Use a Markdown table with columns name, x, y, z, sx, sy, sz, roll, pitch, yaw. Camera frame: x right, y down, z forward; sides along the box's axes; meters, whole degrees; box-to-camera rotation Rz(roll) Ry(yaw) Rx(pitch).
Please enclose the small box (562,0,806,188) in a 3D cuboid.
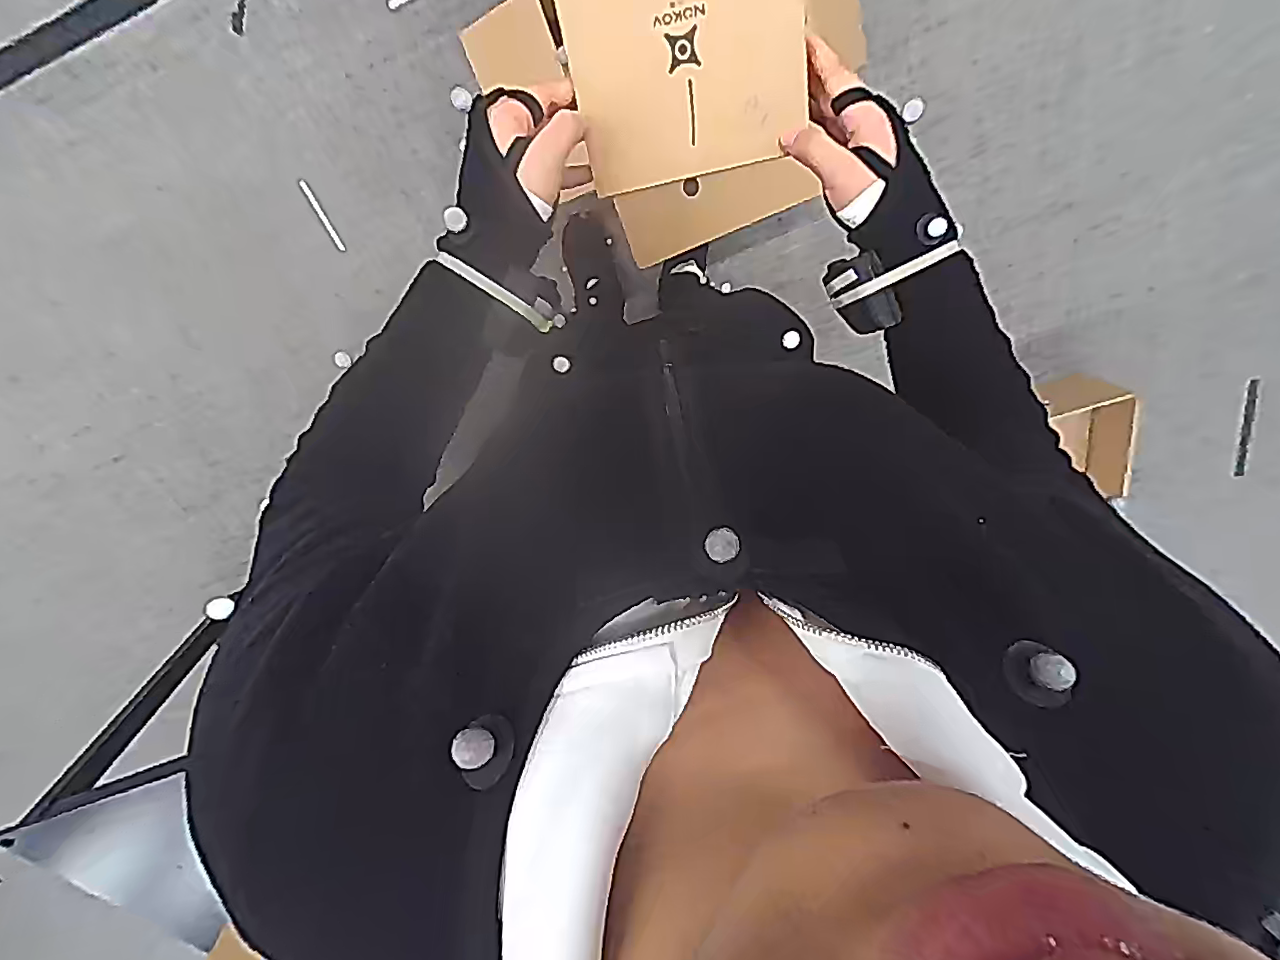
| name | x | y | z | sx | sy | sz | roll | pitch | yaw |
| --- | --- | --- | --- | --- | --- | --- | --- | --- | --- |
| small box | 0.034 | -0.355 | 0.448 | 0.168 | 0.176 | 0.179 | -9 | 120 | 8 |
